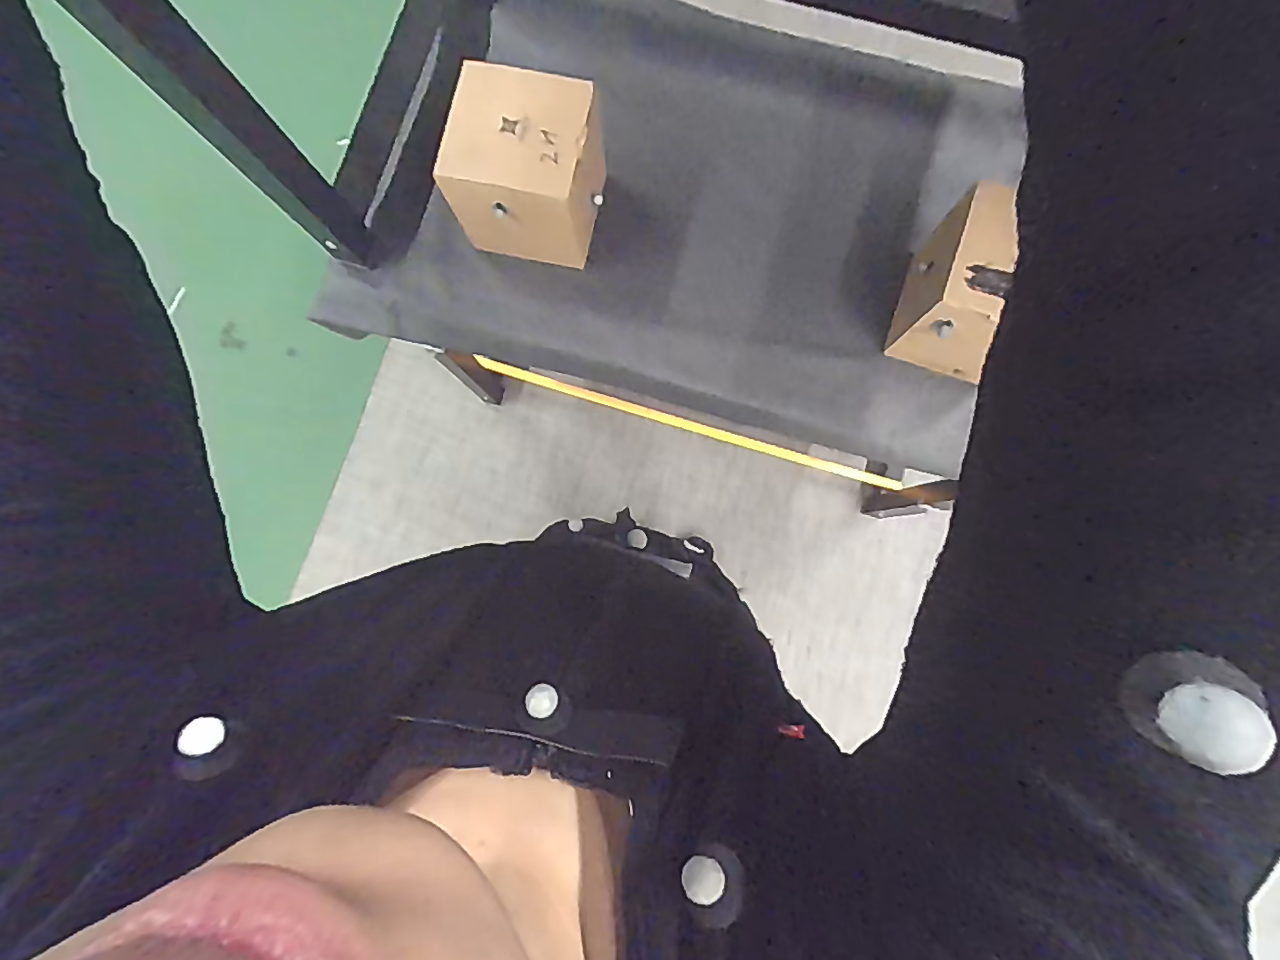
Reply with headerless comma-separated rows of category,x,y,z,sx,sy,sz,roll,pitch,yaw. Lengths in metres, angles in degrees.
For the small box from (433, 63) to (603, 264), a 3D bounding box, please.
small box,-0.157,-0.429,0.760,0.179,0.176,0.168,12,83,2
